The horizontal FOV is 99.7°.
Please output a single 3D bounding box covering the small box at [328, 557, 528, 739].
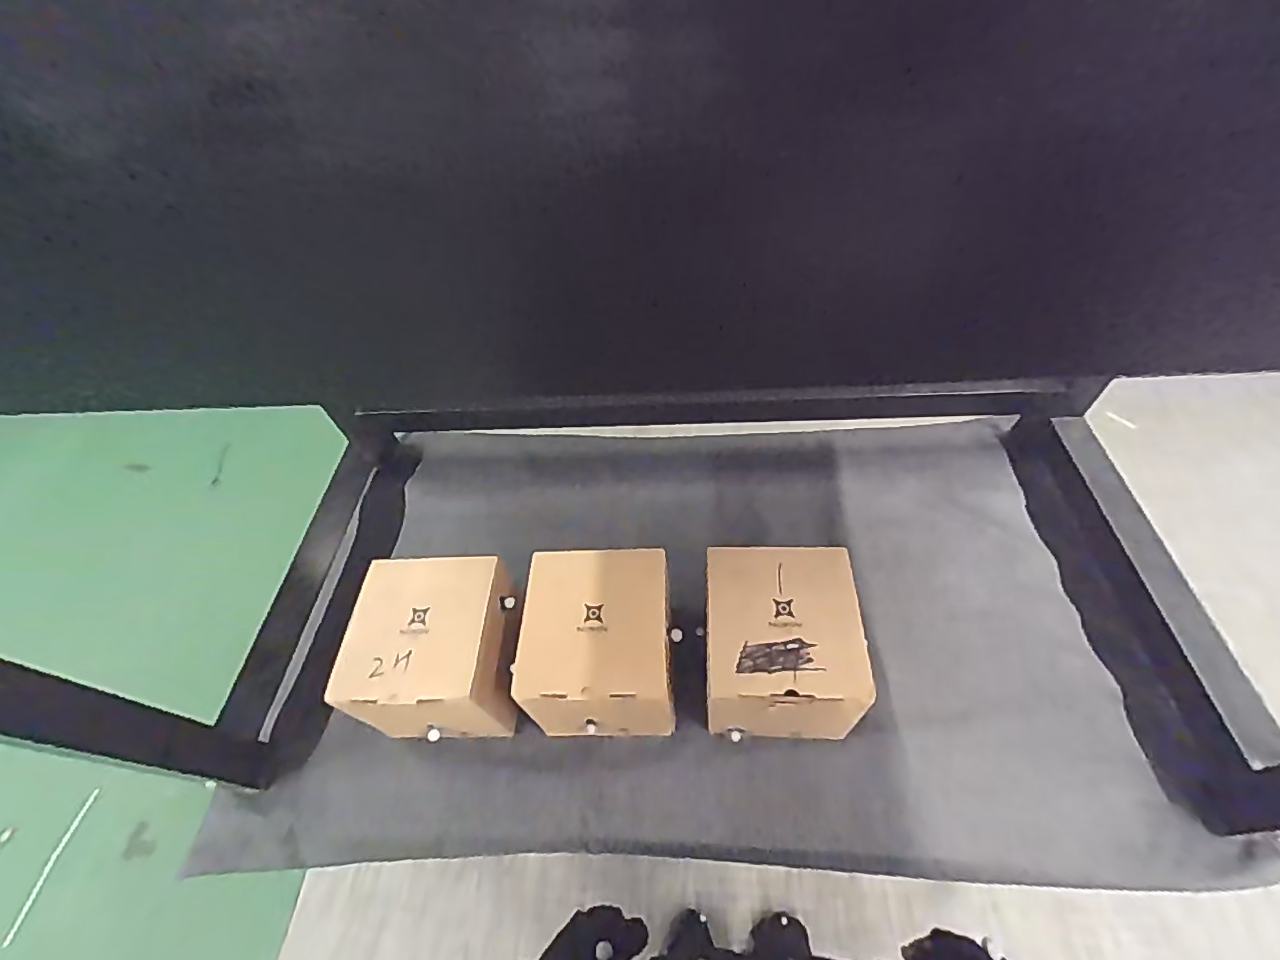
[{"bbox_3d":[-0.250,0.216,0.692,0.168,0.176,0.179,-3,52,5],"label":"small box"}]
